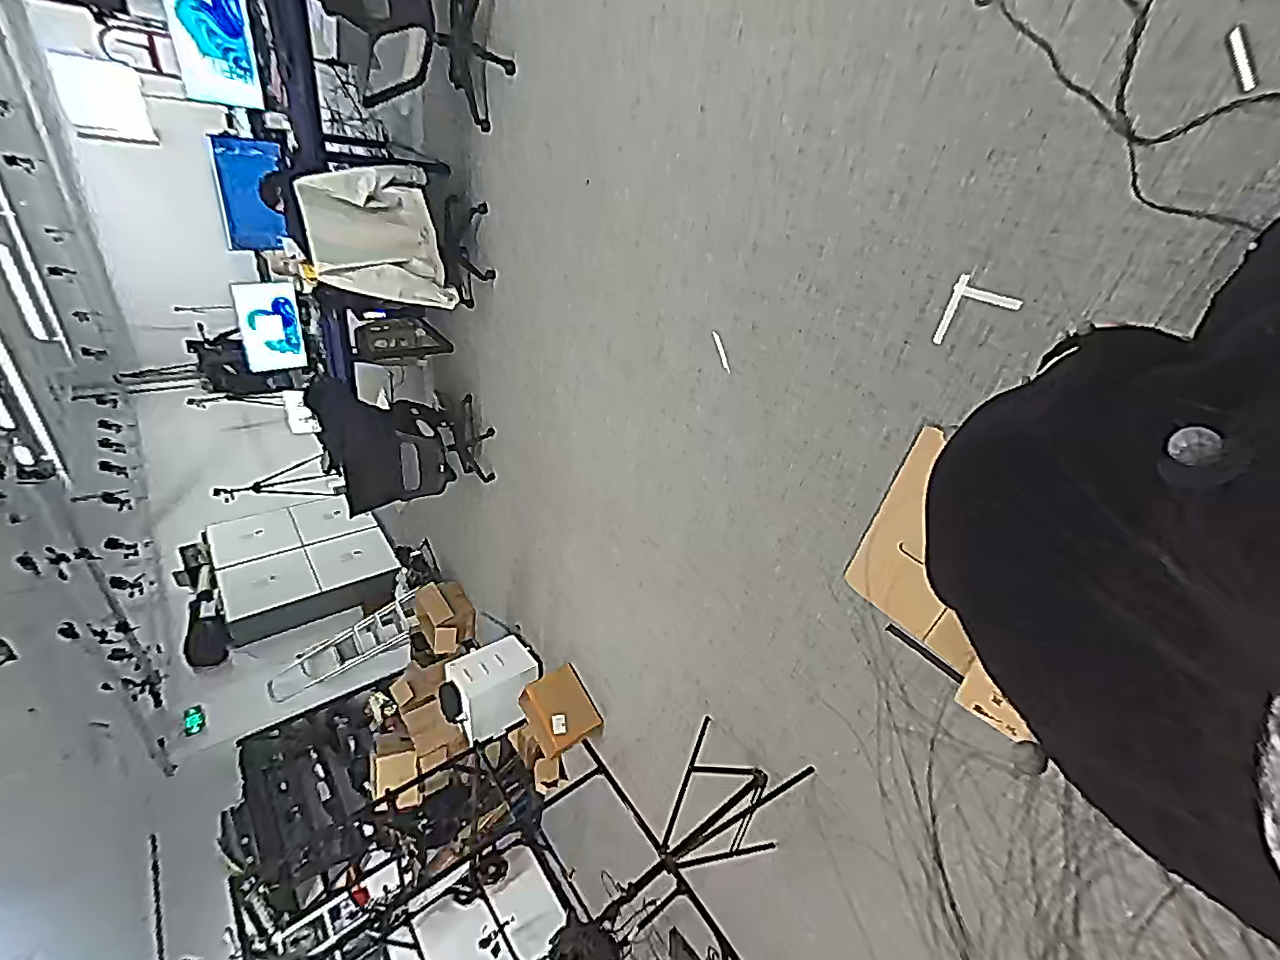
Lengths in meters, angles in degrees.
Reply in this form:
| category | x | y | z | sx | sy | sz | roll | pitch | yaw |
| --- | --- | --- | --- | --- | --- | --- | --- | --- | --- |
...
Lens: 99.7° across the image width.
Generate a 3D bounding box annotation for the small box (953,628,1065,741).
| category | x | y | z | sx | sy | sz | roll | pitch | yaw |
| --- | --- | --- | --- | --- | --- | --- | --- | --- | --- |
| small box | 0.946 | 0.513 | 1.382 | 0.168 | 0.176 | 0.179 | 34 | 128 | 40 |
